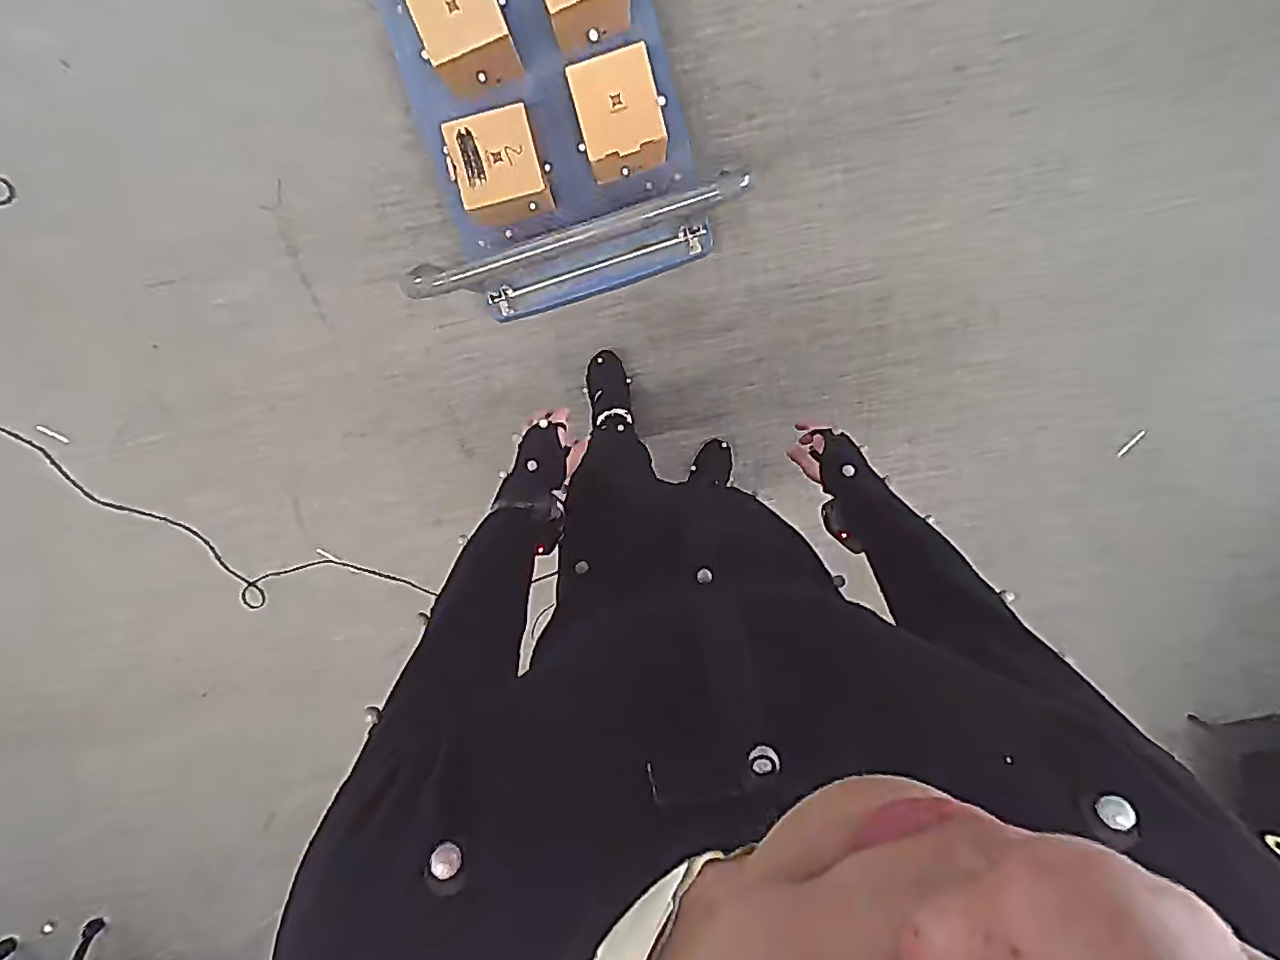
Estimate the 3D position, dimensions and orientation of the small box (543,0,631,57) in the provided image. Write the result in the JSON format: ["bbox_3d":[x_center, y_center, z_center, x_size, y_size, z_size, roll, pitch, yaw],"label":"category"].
[{"bbox_3d":[-0.123,-1.016,1.093,0.168,0.176,0.179,-20,104,6],"label":"small box"}]

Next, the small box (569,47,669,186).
[{"bbox_3d":[-0.043,-0.765,1.158,0.168,0.176,0.179,-16,104,3],"label":"small box"}]

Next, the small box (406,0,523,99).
[{"bbox_3d":[-0.357,-0.928,1.115,0.168,0.176,0.179,-20,103,4],"label":"small box"}]
